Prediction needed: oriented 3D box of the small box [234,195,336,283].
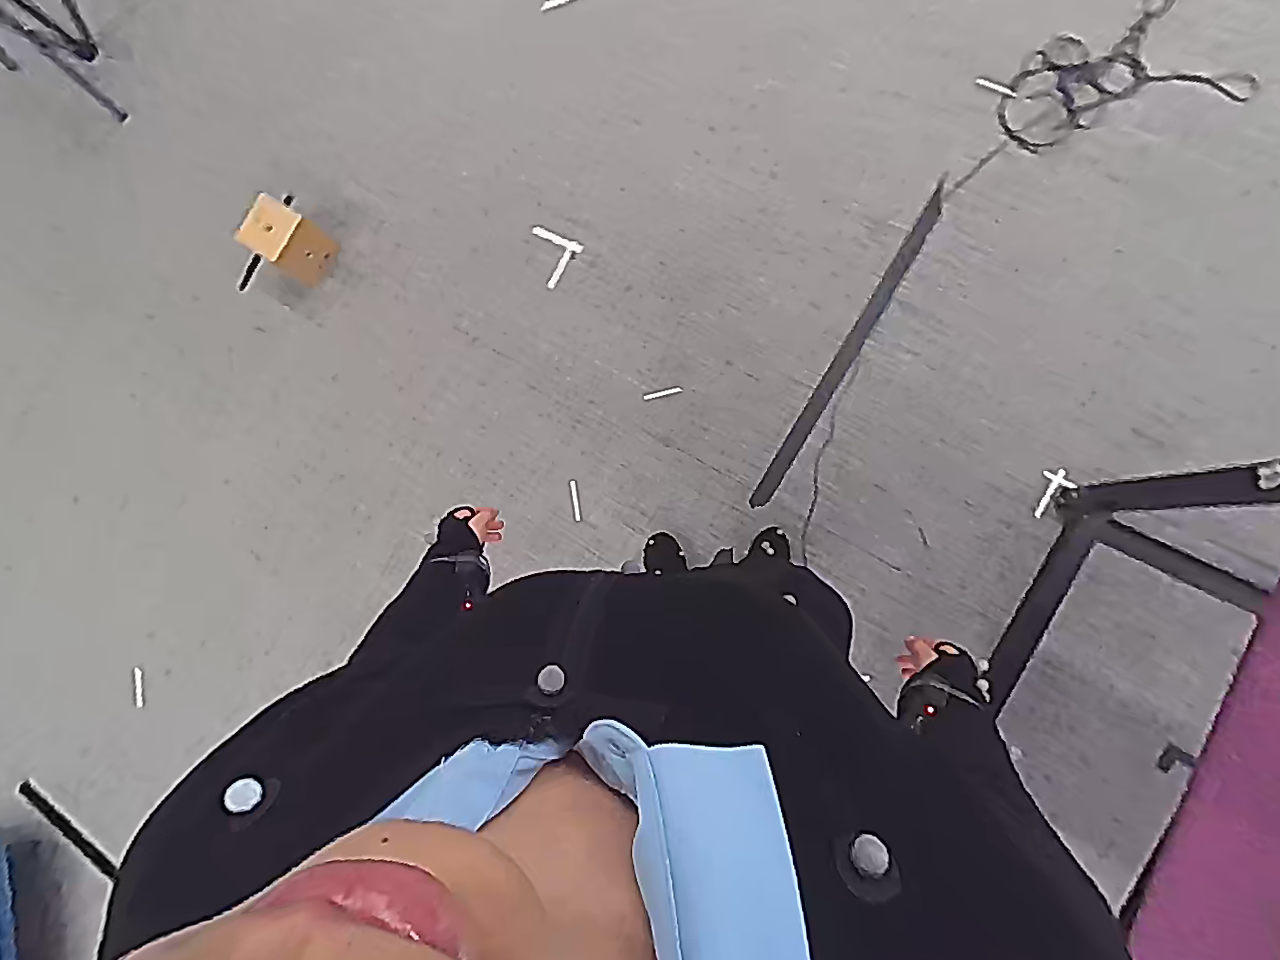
[{"bbox_3d":[-1.111,-0.749,1.706,0.179,0.176,0.168,32,91,11],"label":"small box"}]
